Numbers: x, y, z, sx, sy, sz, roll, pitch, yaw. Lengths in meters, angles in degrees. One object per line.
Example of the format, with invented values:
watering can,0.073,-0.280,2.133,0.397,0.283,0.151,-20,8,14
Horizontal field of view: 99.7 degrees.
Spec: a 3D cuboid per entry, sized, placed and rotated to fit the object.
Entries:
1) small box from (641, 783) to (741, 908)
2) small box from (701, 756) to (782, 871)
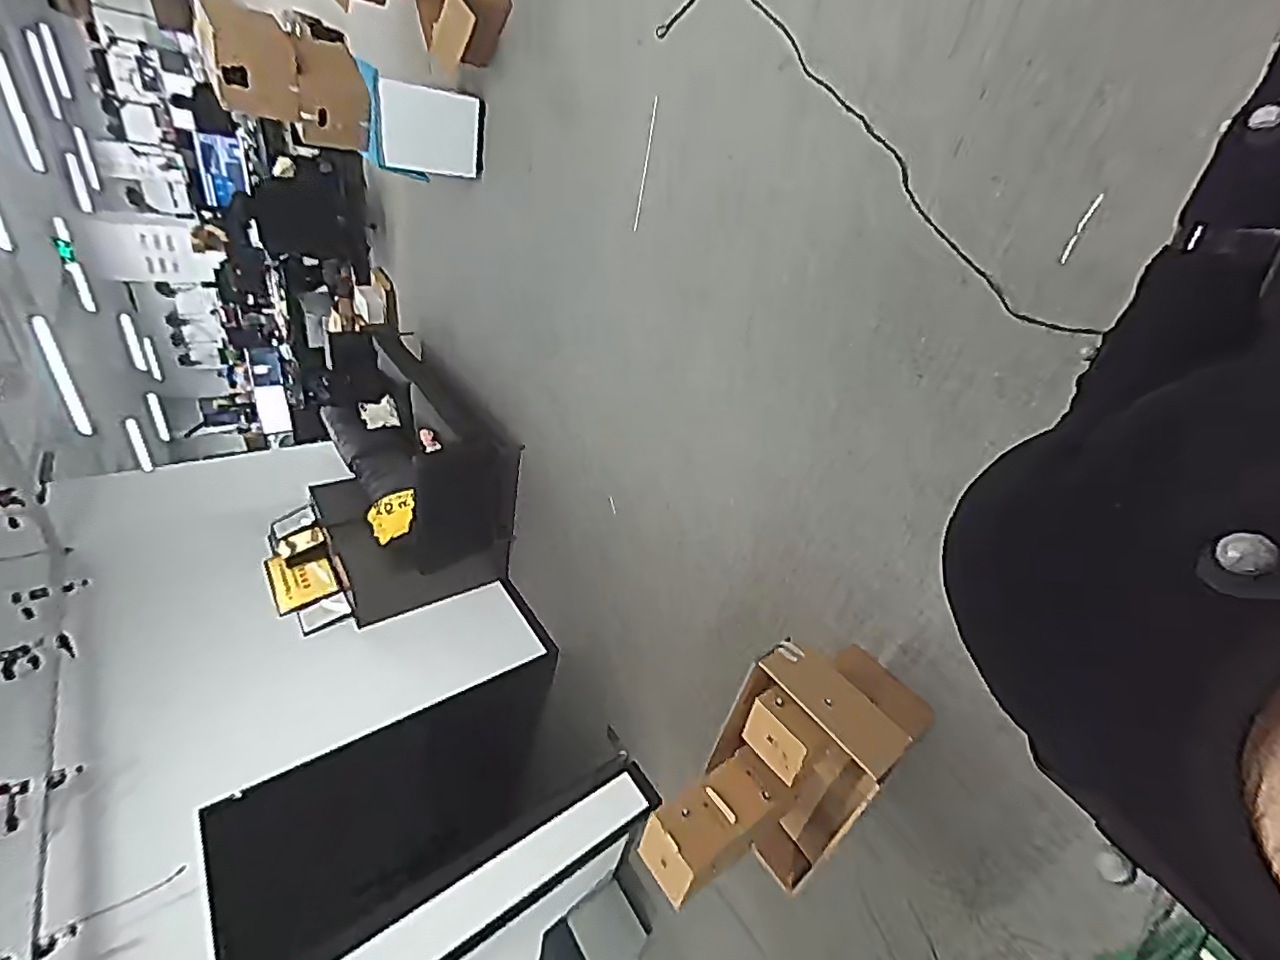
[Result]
small box,0.132,0.924,1.382,0.168,0.176,0.179,39,128,39
small box,0.262,0.900,1.478,0.168,0.176,0.179,36,126,41
